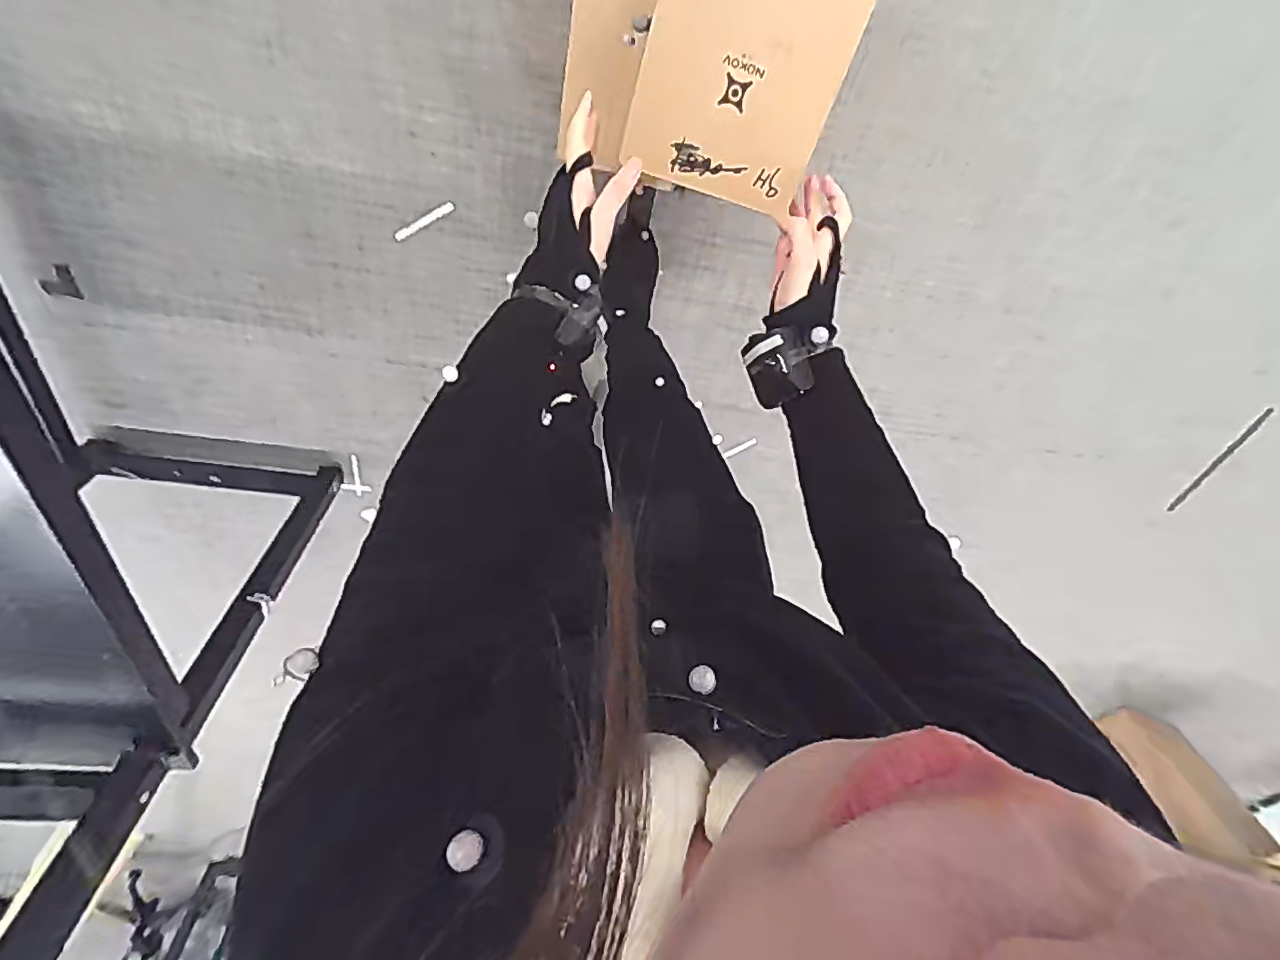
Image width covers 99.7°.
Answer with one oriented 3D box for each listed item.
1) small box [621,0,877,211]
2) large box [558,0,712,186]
[{"bbox_3d":[0.080,-0.381,0.501,0.168,0.176,0.179,13,125,-12],"label":"small box"},{"bbox_3d":[0.063,-0.684,0.782,0.320,0.320,0.408,7,126,-11],"label":"large box"}]
